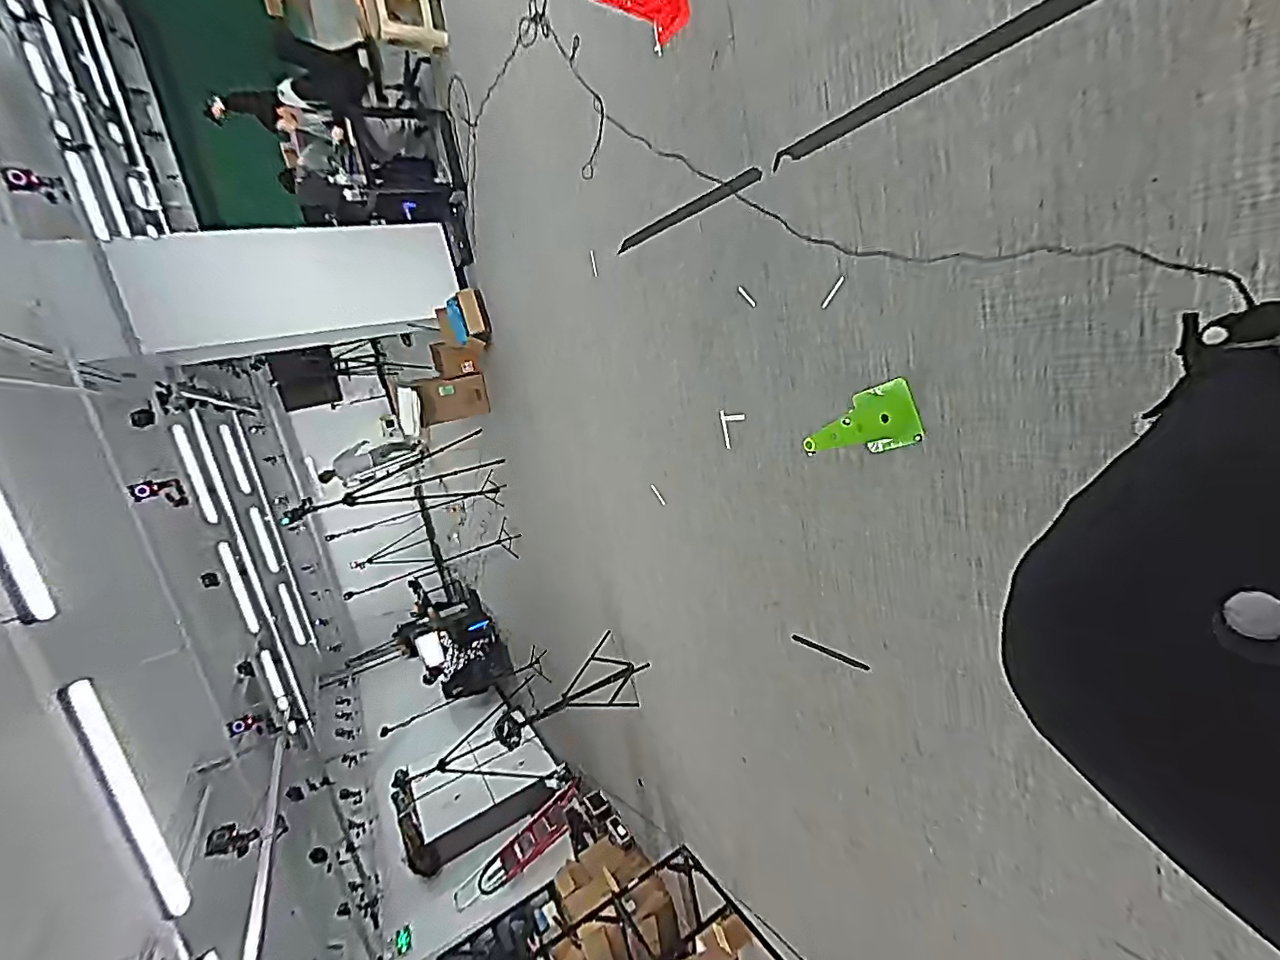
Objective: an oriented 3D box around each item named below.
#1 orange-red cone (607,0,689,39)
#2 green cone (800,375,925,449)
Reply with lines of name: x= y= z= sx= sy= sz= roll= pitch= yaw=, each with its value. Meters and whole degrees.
orange-red cone: x=-0.031 y=-1.693 z=1.869 sx=0.199 sy=0.360 sz=0.198 roll=22 pitch=125 yaw=55
green cone: x=0.620 y=-0.160 z=1.593 sx=0.202 sy=0.368 sz=0.200 roll=-22 pitch=86 yaw=64
